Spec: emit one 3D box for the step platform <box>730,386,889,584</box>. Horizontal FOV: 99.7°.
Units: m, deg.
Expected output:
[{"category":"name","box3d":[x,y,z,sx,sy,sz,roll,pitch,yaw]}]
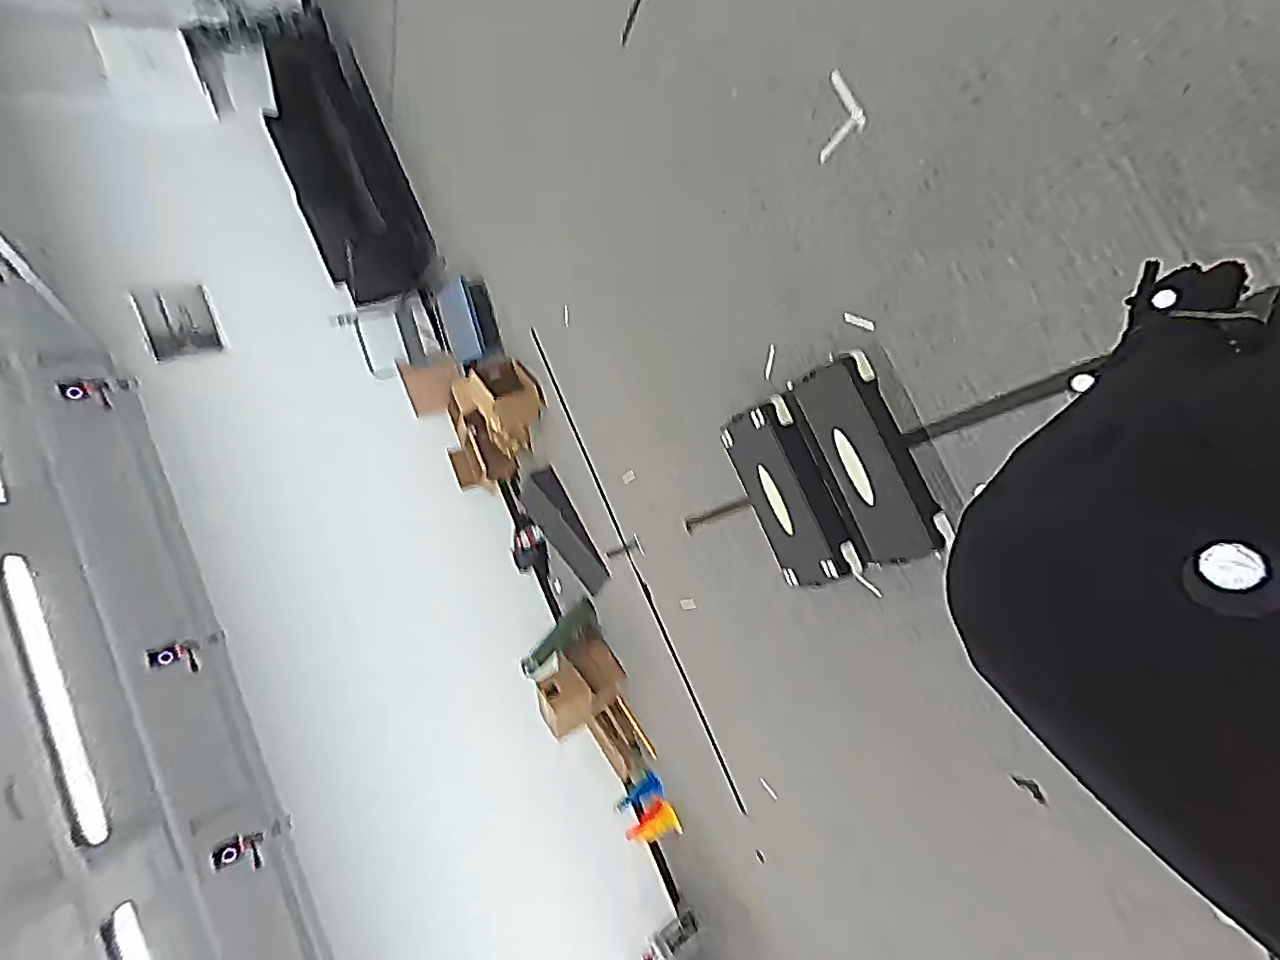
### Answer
[{"category":"step platform","box3d":[0.583,0.027,1.917,0.286,0.204,0.684,-35,77,60]}]
